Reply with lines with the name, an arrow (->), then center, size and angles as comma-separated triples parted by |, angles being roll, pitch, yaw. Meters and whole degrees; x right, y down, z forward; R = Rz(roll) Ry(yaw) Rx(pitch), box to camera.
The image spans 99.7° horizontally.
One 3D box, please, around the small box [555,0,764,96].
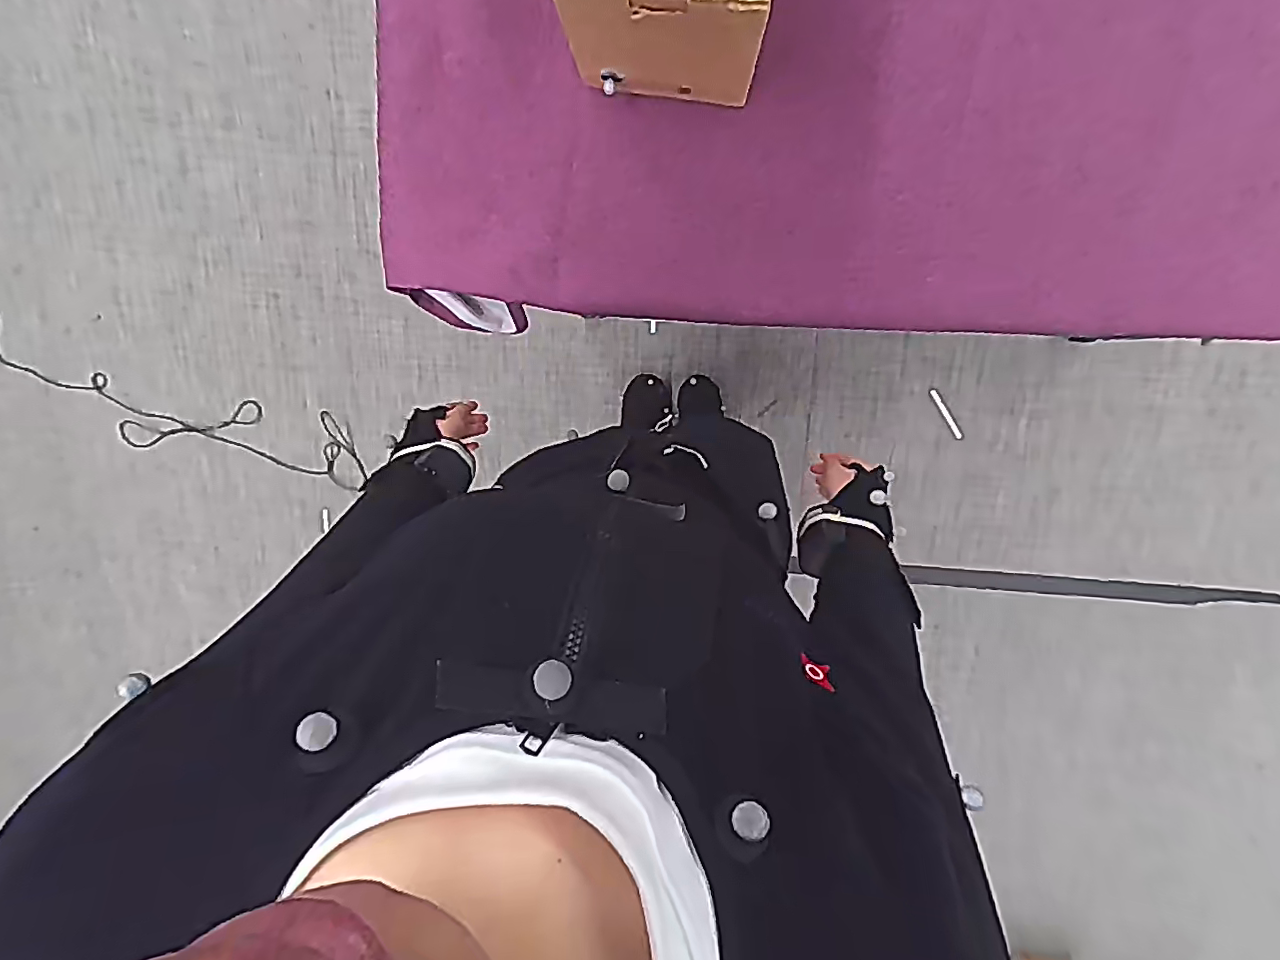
small box -> 0.029, -0.455, 0.447 | 0.168, 0.176, 0.179 | 8, 103, 1
